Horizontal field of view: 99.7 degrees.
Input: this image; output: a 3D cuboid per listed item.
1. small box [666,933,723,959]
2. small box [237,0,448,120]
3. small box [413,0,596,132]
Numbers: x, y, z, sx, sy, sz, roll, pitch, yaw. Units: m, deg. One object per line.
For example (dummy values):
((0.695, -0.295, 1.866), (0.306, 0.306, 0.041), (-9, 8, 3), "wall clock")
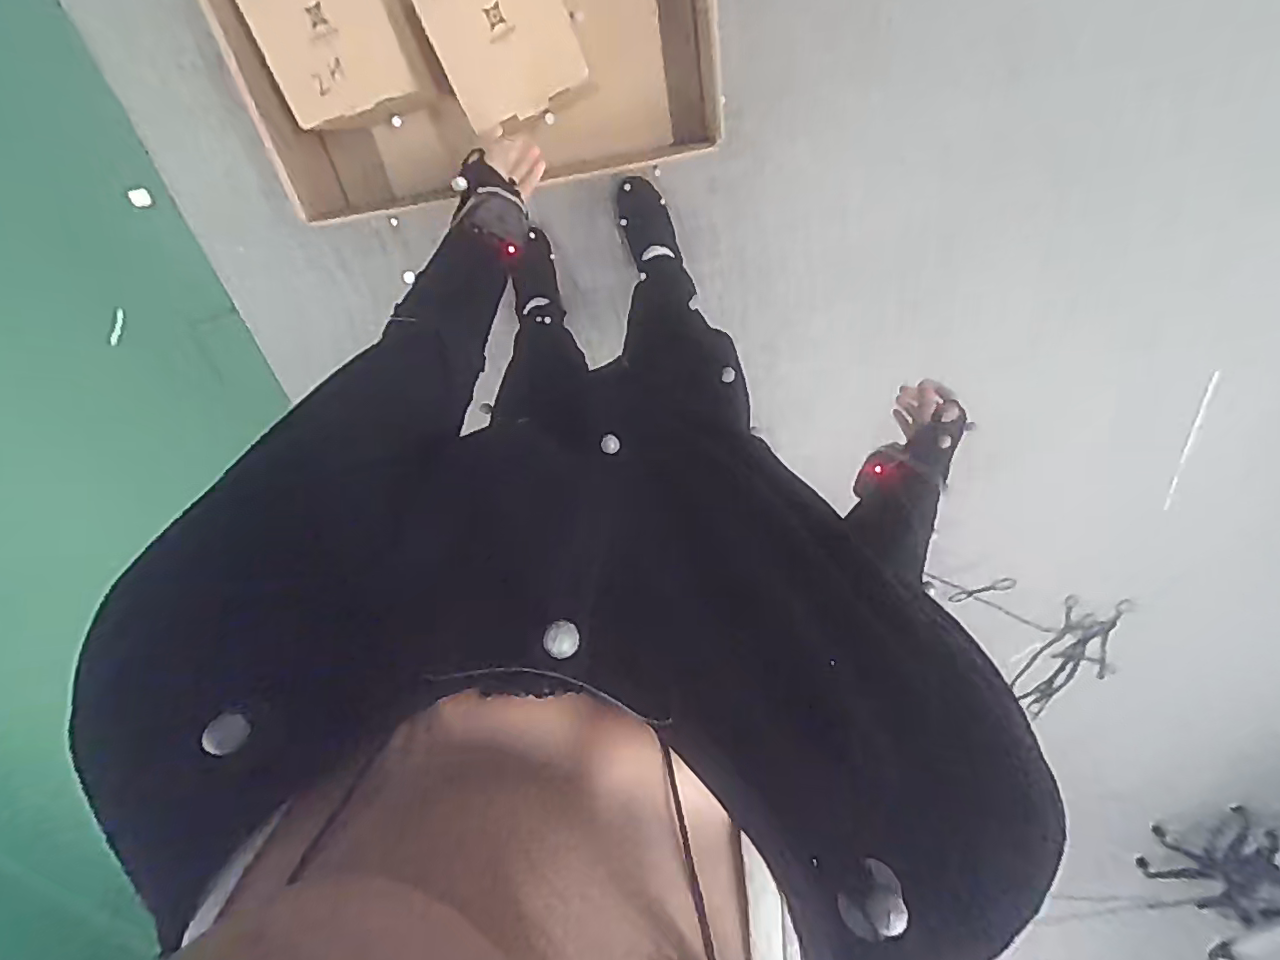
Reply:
((0.172, 1.548, 1.689), (0.168, 0.176, 0.179), (3, 123, -2), "small box")
((-0.374, -0.581, 0.690), (0.168, 0.176, 0.179), (-11, 122, 8), "small box")
((-0.164, -0.576, 0.691), (0.168, 0.176, 0.179), (-18, 121, 12), "small box")
